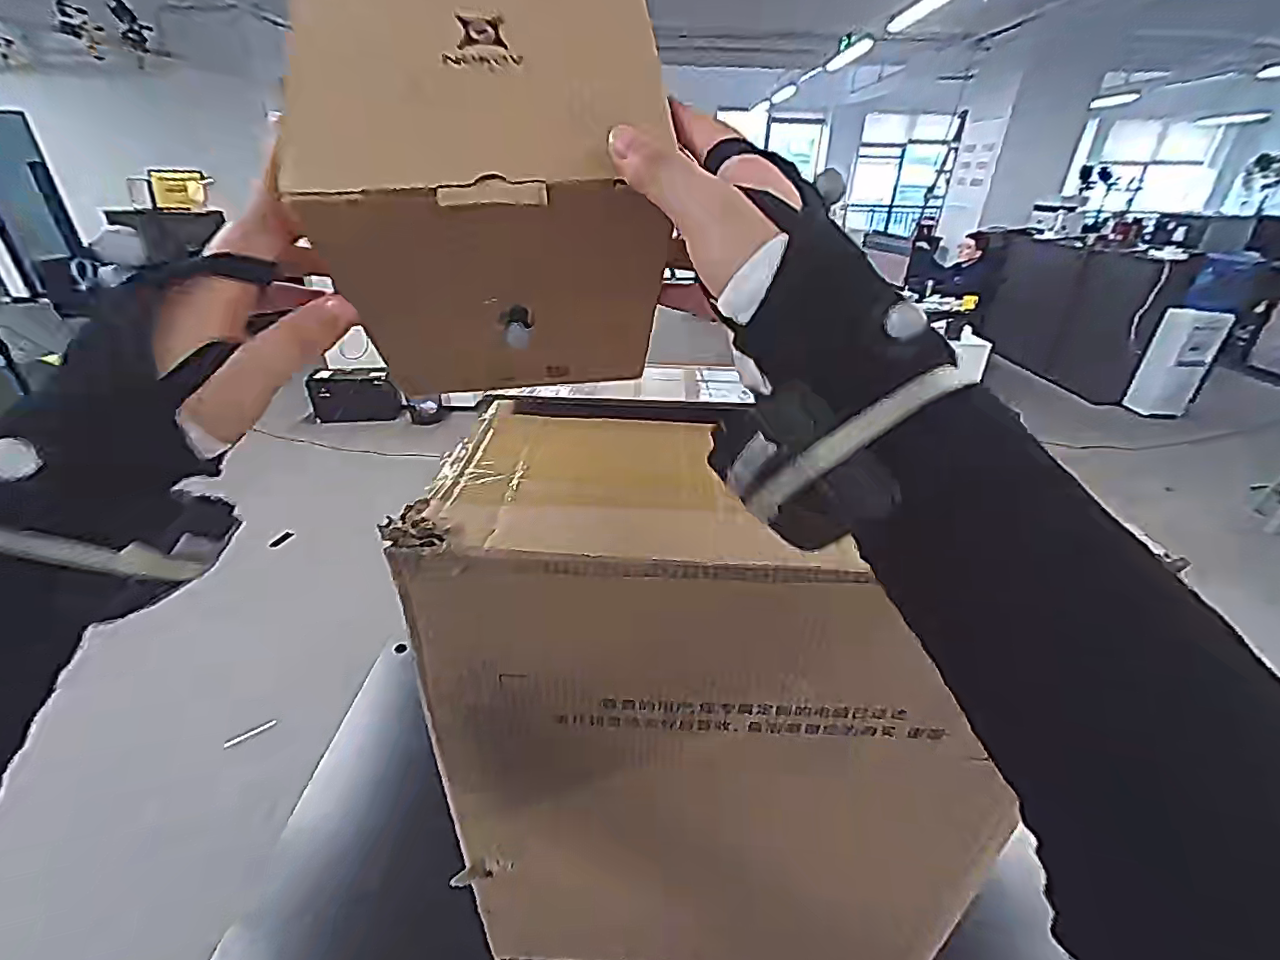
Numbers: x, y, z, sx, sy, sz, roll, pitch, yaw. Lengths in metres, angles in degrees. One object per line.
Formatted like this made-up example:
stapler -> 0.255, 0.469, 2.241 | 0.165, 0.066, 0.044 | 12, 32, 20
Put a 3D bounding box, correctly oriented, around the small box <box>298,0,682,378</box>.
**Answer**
small box -> -0.077, -0.175, 0.333 | 0.168, 0.176, 0.179 | -5, 69, -8
